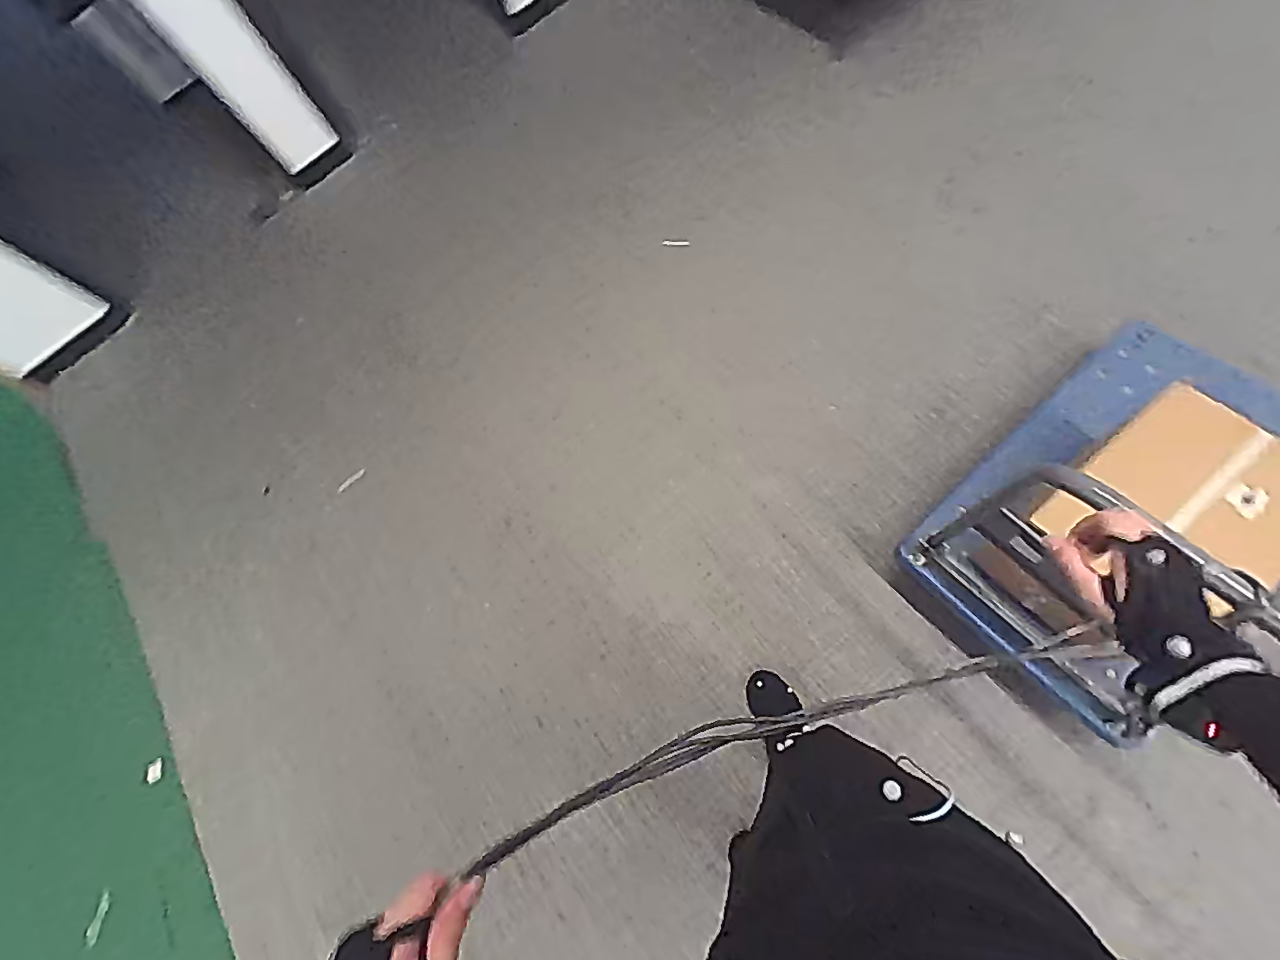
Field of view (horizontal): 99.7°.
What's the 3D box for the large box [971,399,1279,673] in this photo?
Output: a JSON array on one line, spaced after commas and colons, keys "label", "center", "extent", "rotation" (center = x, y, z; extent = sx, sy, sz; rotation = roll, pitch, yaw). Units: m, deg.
[{"label": "large box", "center": [0.976, 0.128, 1.086], "extent": [0.408, 0.320, 0.320], "rotation": [-40, 67, -6]}]
